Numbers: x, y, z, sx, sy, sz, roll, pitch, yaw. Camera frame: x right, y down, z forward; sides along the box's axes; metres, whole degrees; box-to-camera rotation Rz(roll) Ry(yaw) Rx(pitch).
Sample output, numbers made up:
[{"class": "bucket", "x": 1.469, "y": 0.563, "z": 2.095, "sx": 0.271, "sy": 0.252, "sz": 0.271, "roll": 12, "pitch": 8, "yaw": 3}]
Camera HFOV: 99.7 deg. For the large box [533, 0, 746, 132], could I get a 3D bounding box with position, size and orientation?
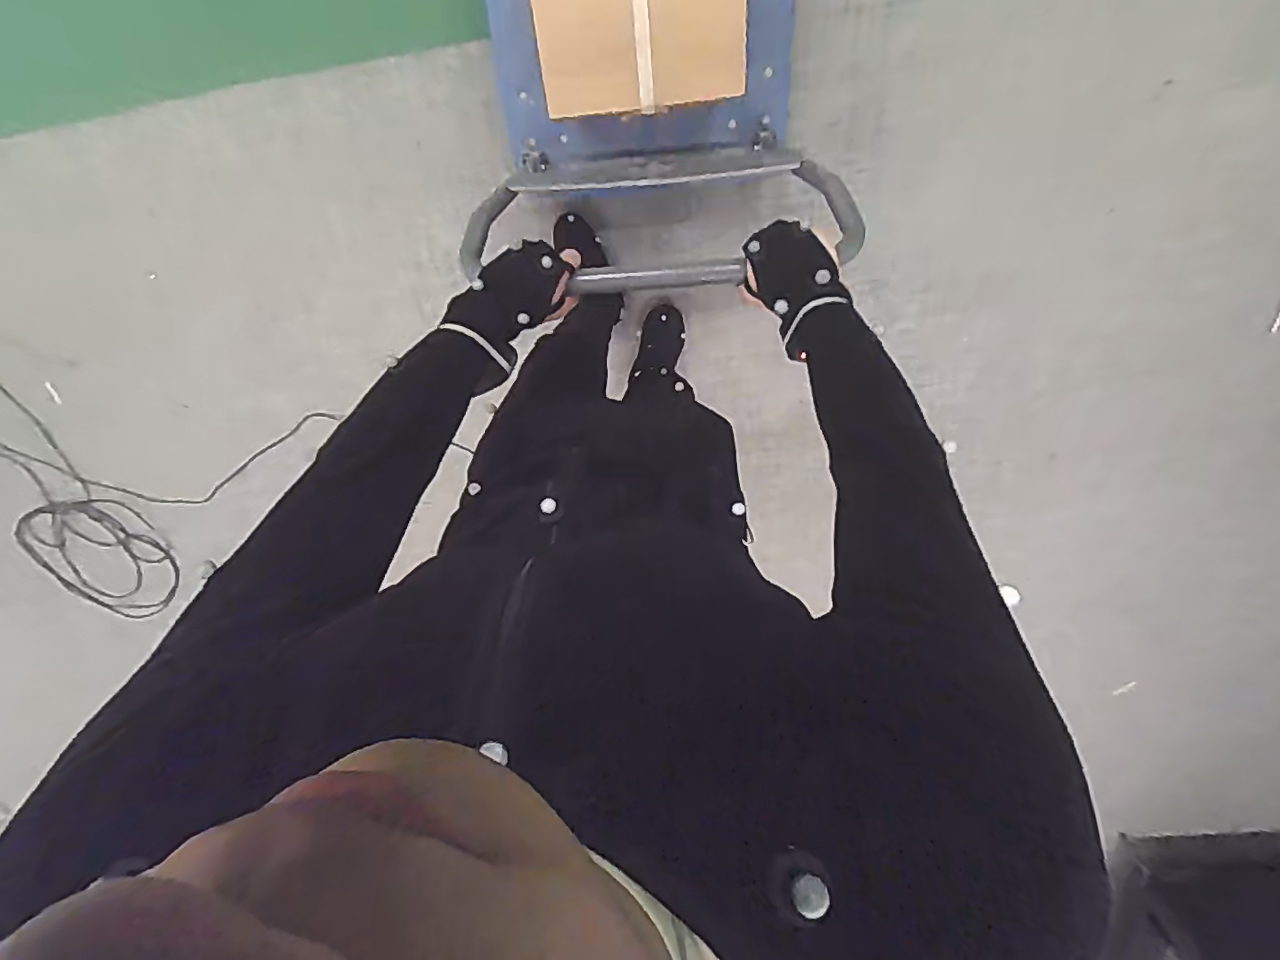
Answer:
[{"class": "large box", "x": -0.003, "y": -0.827, "z": 0.880, "sx": 0.320, "sy": 0.320, "sz": 0.408, "roll": -4, "pitch": 124, "yaw": 4}]
